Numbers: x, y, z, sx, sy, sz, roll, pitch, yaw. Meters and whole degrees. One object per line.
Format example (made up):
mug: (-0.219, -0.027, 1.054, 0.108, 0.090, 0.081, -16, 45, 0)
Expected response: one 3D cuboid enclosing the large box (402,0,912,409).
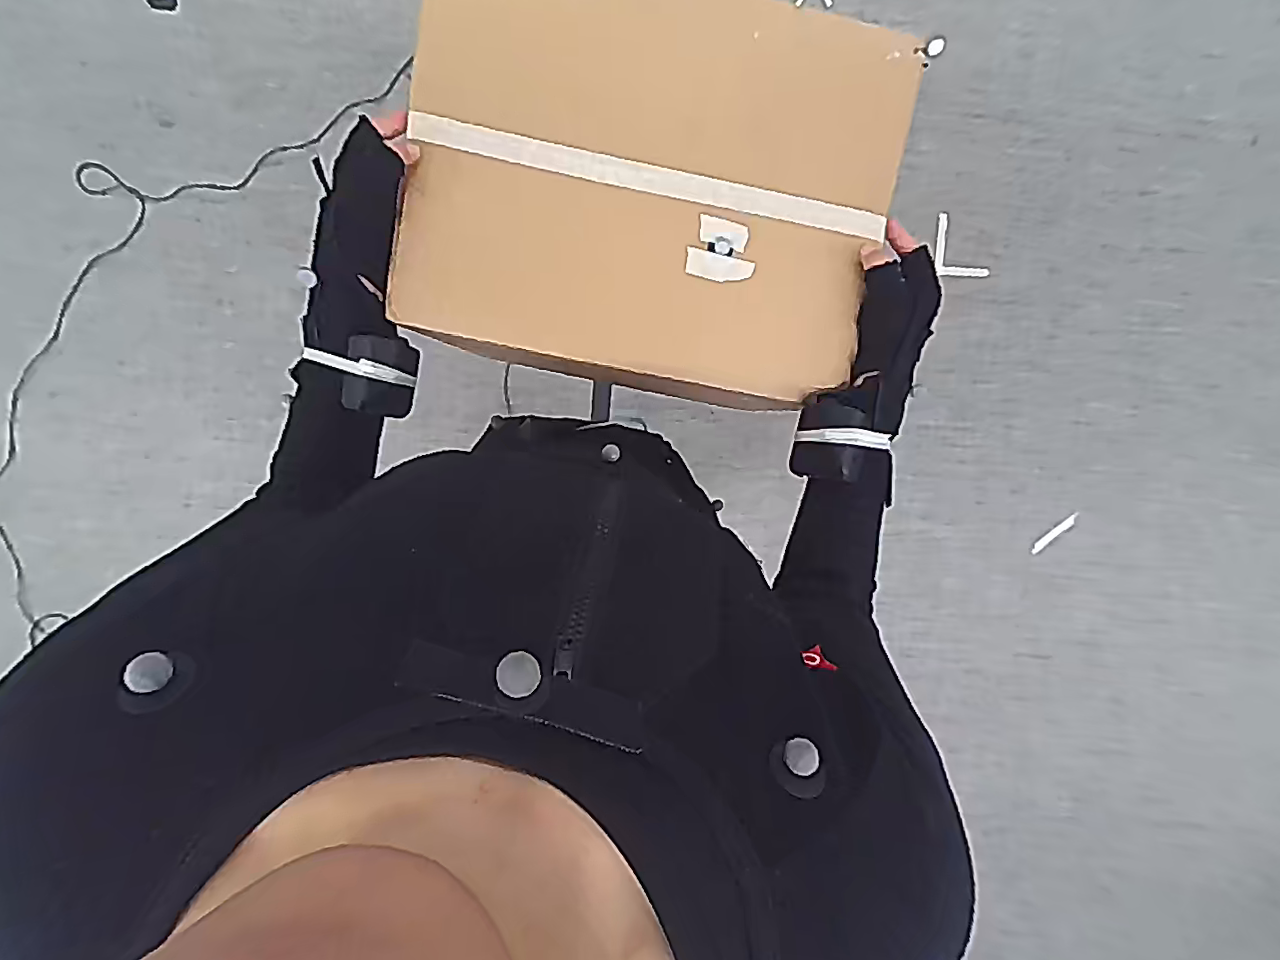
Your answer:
large box: (0.003, -0.266, 0.611, 0.408, 0.320, 0.320, 11, 98, -5)
